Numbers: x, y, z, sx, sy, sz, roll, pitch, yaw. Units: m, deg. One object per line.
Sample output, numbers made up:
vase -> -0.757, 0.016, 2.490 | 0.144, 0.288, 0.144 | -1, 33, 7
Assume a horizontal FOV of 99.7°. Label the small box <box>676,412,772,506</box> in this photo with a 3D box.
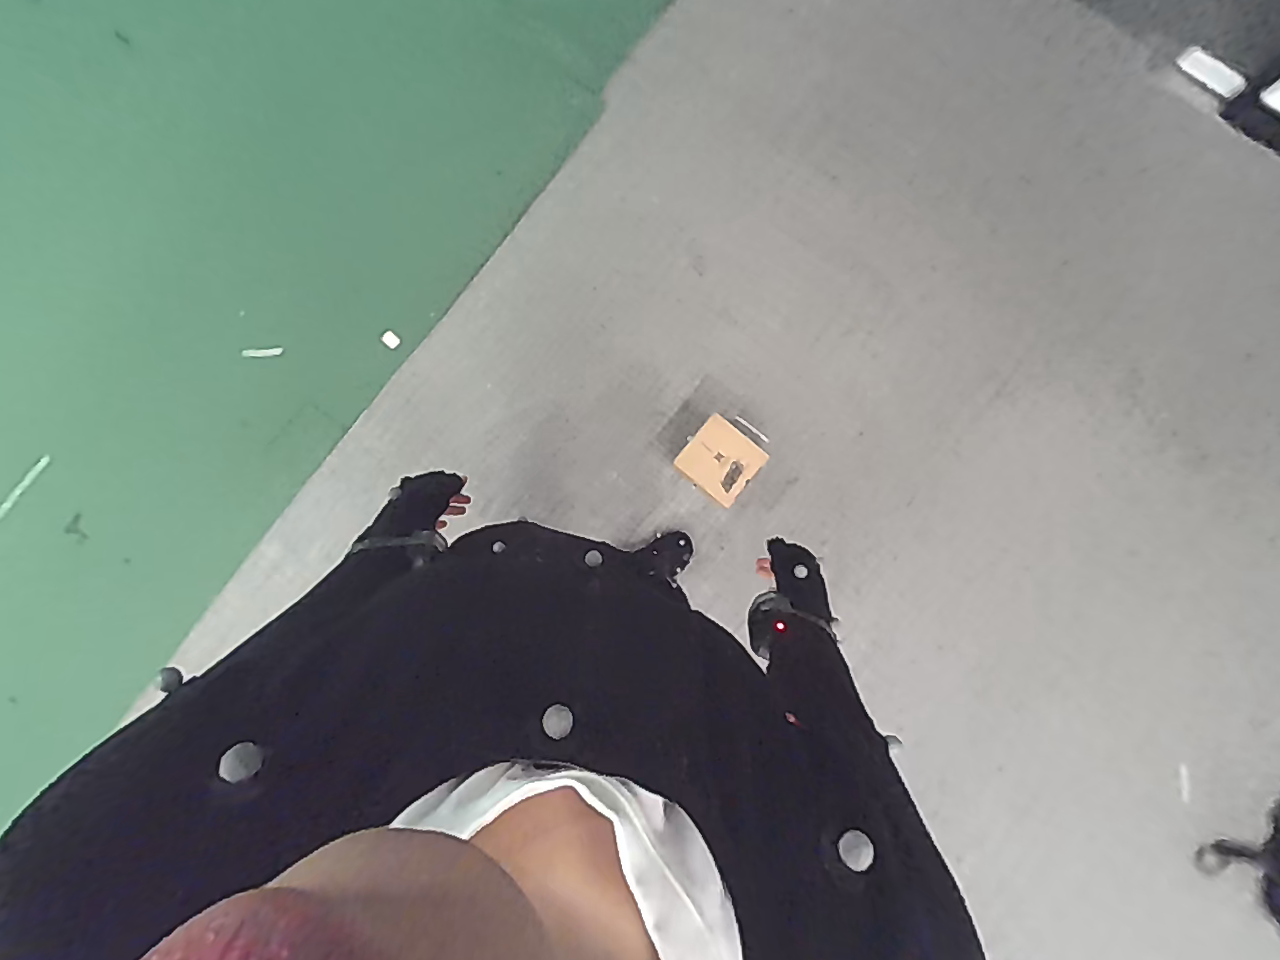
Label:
small box -> 0.211, -0.050, 1.393 | 0.179, 0.176, 0.168 | 40, 89, 5
